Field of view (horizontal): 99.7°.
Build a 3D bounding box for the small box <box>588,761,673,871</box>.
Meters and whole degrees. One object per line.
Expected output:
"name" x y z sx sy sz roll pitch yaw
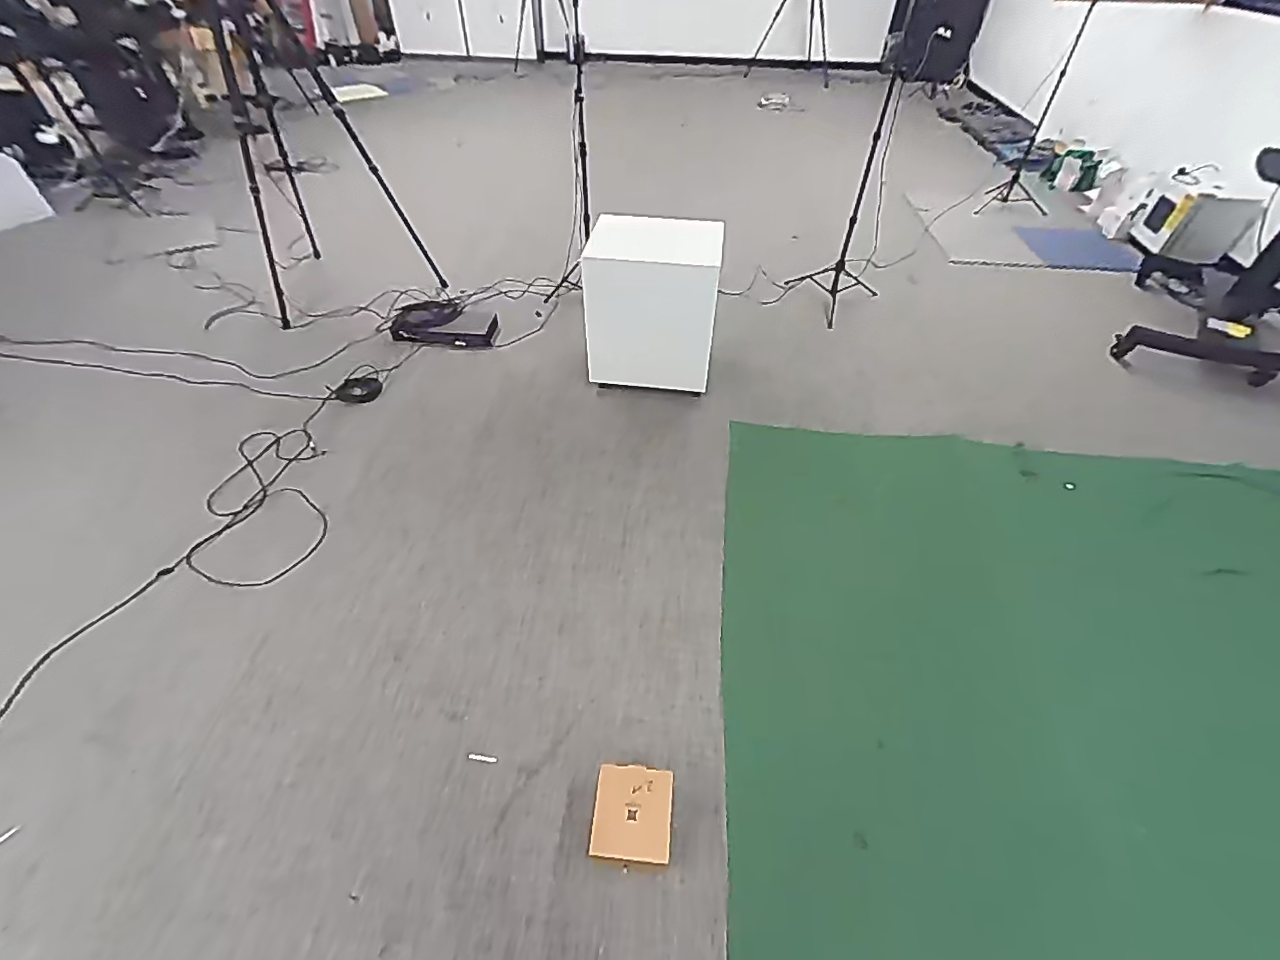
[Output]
"small box" -0.018 0.752 1.206 0.168 0.176 0.179 5 48 2
